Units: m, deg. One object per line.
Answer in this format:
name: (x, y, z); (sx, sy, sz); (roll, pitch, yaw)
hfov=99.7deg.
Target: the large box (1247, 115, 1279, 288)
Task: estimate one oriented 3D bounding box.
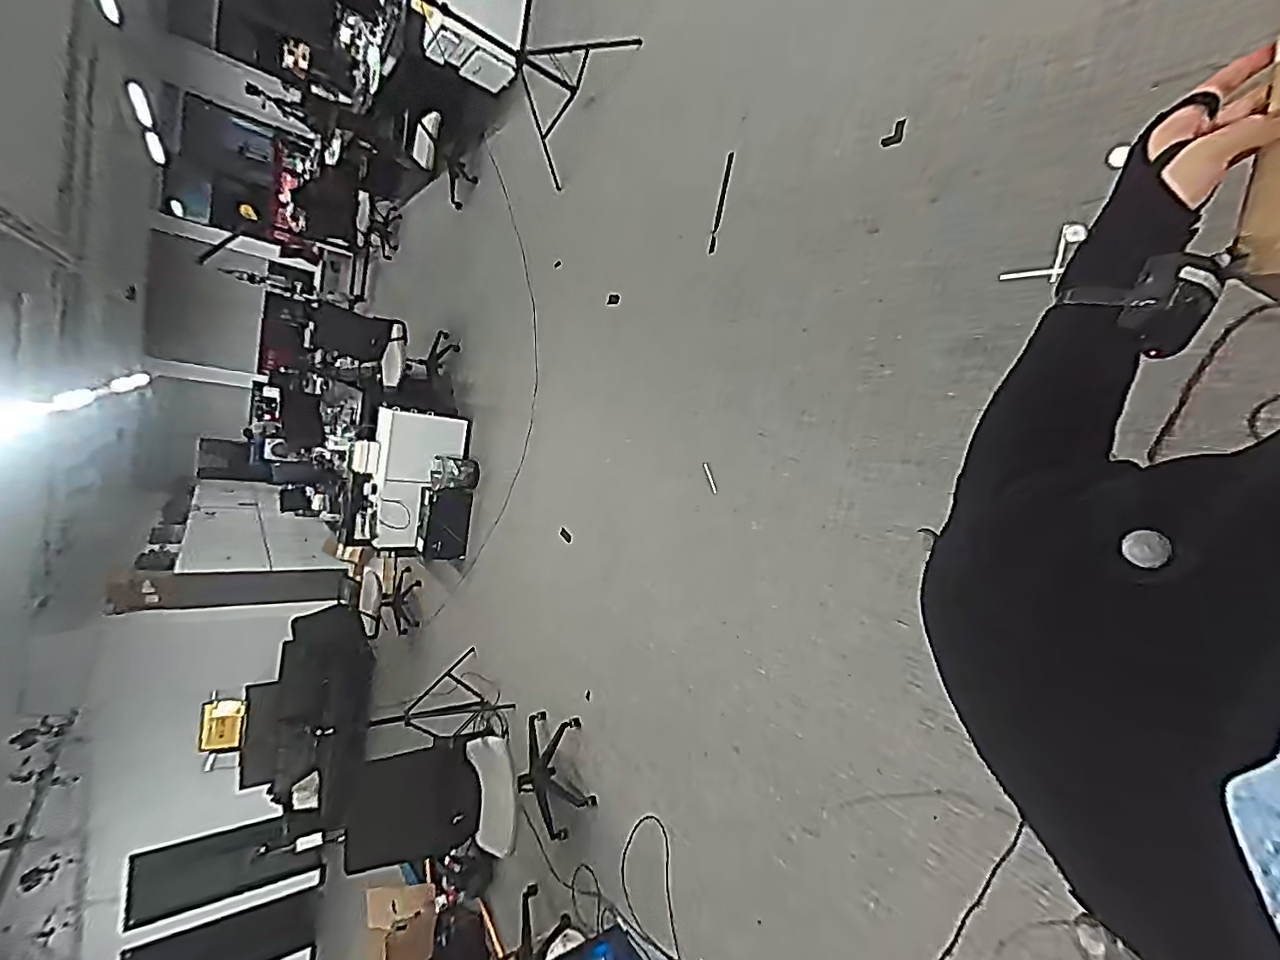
large box: (0.697, -0.281, 0.296); (0.408, 0.320, 0.320); (19, 108, 57)
